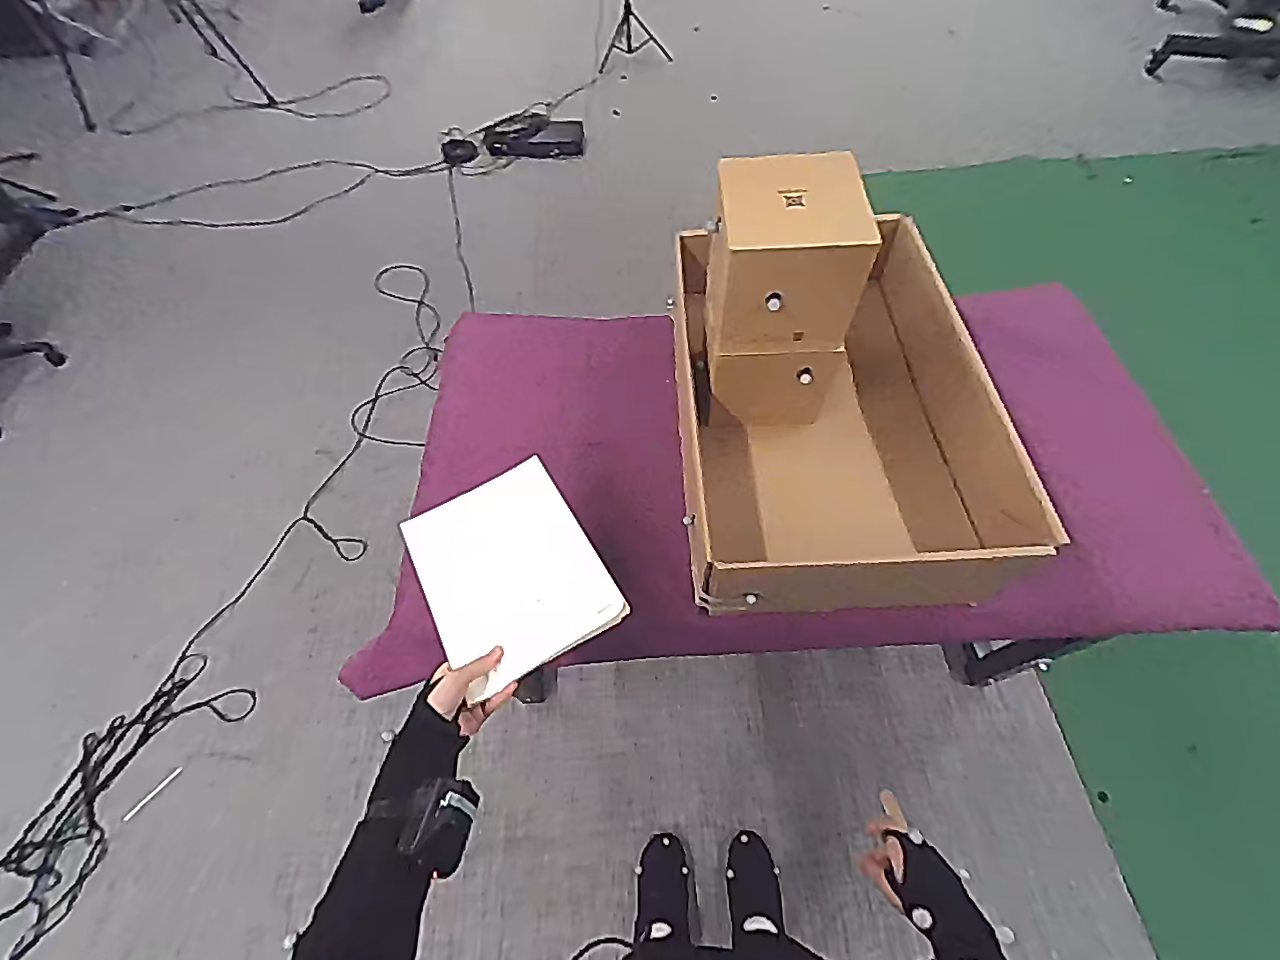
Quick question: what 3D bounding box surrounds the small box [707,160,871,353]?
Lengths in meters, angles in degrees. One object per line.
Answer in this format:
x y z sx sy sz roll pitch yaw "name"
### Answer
0.177 -0.280 0.702 0.168 0.176 0.179 -2 59 2 "small box"
